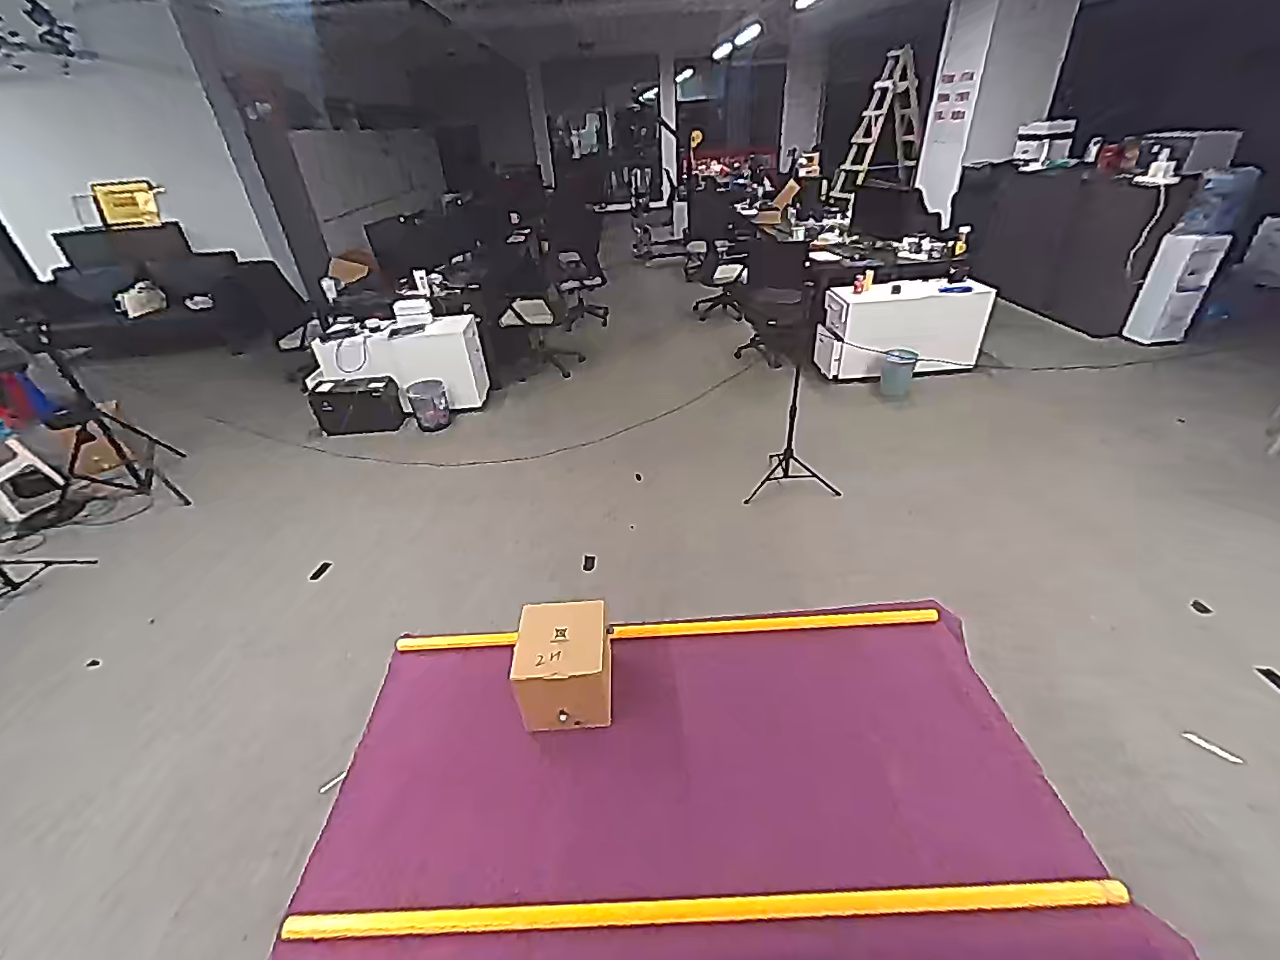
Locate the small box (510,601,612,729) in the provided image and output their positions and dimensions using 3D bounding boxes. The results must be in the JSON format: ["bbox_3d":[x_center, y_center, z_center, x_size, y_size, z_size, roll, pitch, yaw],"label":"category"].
[{"bbox_3d":[-0.146,0.362,1.066,0.168,0.176,0.179,-4,35,1],"label":"small box"}]
